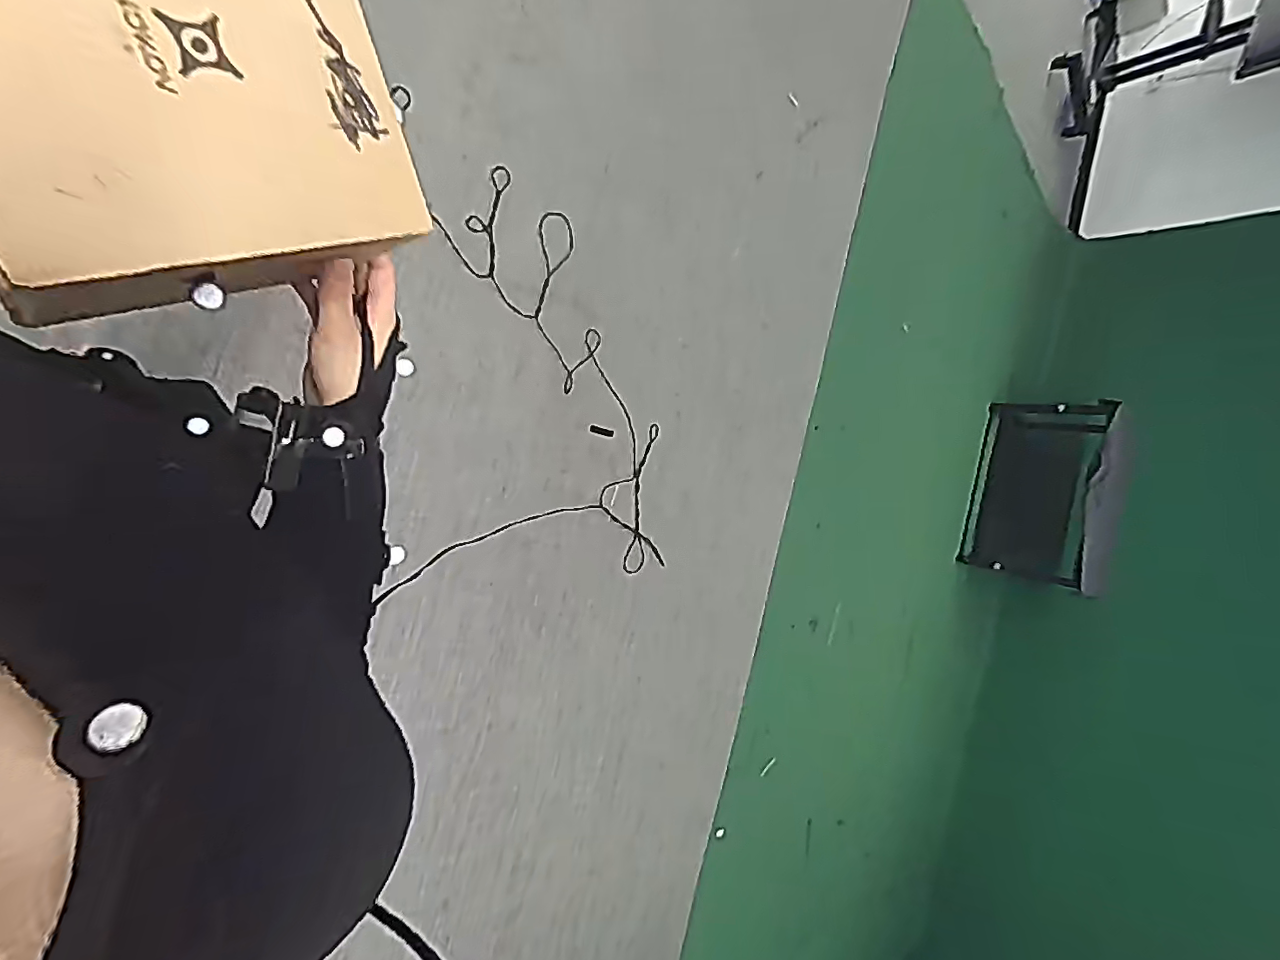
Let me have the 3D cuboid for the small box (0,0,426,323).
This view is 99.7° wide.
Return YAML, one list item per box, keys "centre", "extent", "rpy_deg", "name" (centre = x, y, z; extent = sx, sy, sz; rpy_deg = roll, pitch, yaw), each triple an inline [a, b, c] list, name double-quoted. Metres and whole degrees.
- centre: [-0.254, -0.187, 0.285]
  extent: [0.179, 0.176, 0.168]
  rpy_deg: [-33, 119, -39]
  name: "small box"
